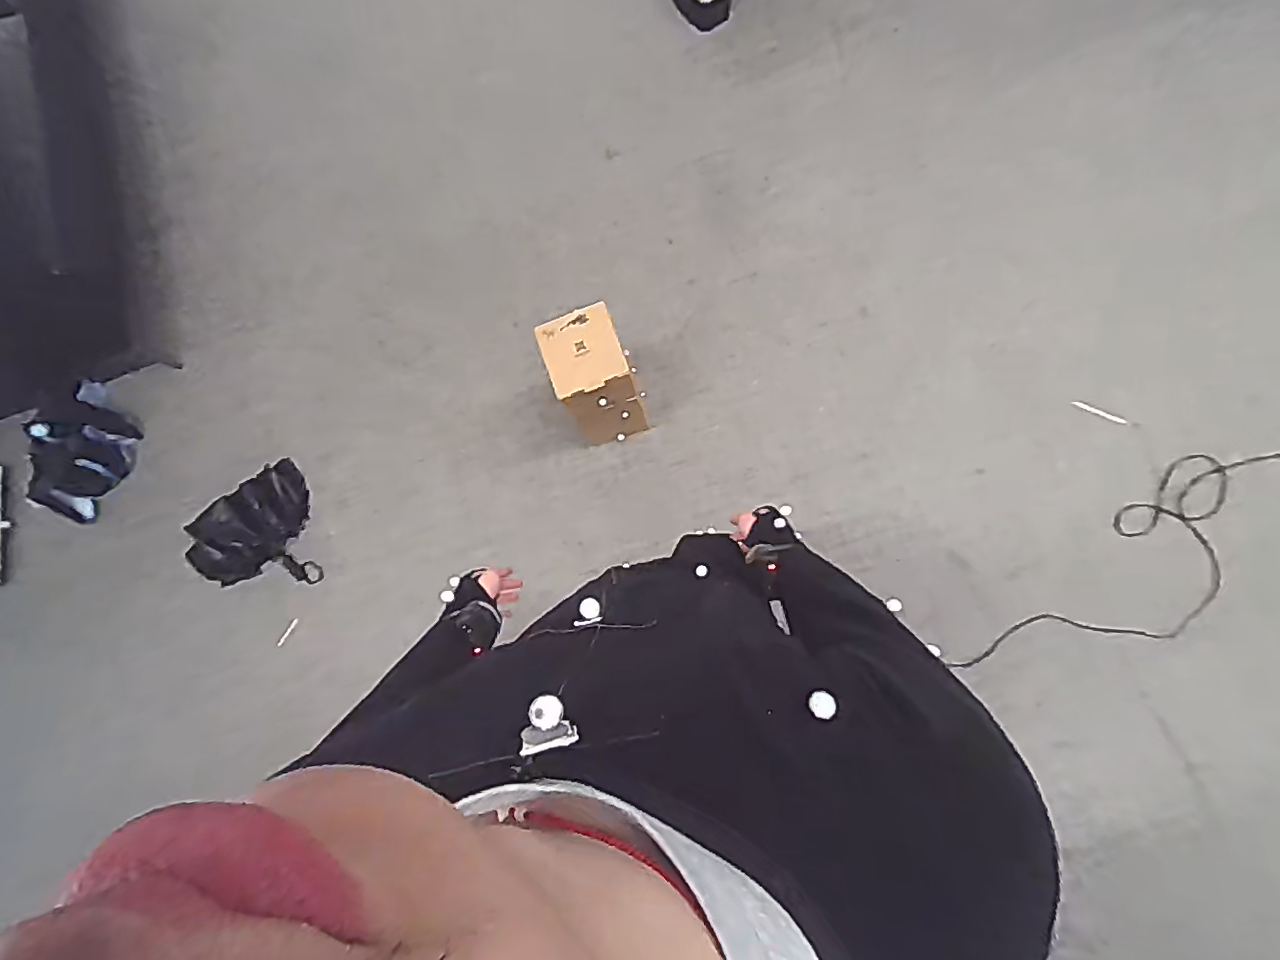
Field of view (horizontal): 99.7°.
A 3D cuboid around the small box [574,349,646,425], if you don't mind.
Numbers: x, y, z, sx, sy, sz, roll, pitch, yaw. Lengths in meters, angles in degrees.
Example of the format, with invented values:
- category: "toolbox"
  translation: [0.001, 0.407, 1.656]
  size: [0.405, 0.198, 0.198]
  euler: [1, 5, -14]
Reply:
- category: "small box"
  translation: [-0.091, -0.252, 1.385]
  size: [0.168, 0.176, 0.179]
  euler: [-19, 80, 4]

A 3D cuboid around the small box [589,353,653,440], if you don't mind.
- category: "small box"
  translation: [-0.070, -0.232, 1.544]
  size: [0.168, 0.176, 0.179]
  euler: [-18, 81, 5]

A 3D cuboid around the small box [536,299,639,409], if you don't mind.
- category: "small box"
  translation: [-0.110, -0.272, 1.224]
  size: [0.168, 0.176, 0.179]
  euler: [-21, 82, 4]
